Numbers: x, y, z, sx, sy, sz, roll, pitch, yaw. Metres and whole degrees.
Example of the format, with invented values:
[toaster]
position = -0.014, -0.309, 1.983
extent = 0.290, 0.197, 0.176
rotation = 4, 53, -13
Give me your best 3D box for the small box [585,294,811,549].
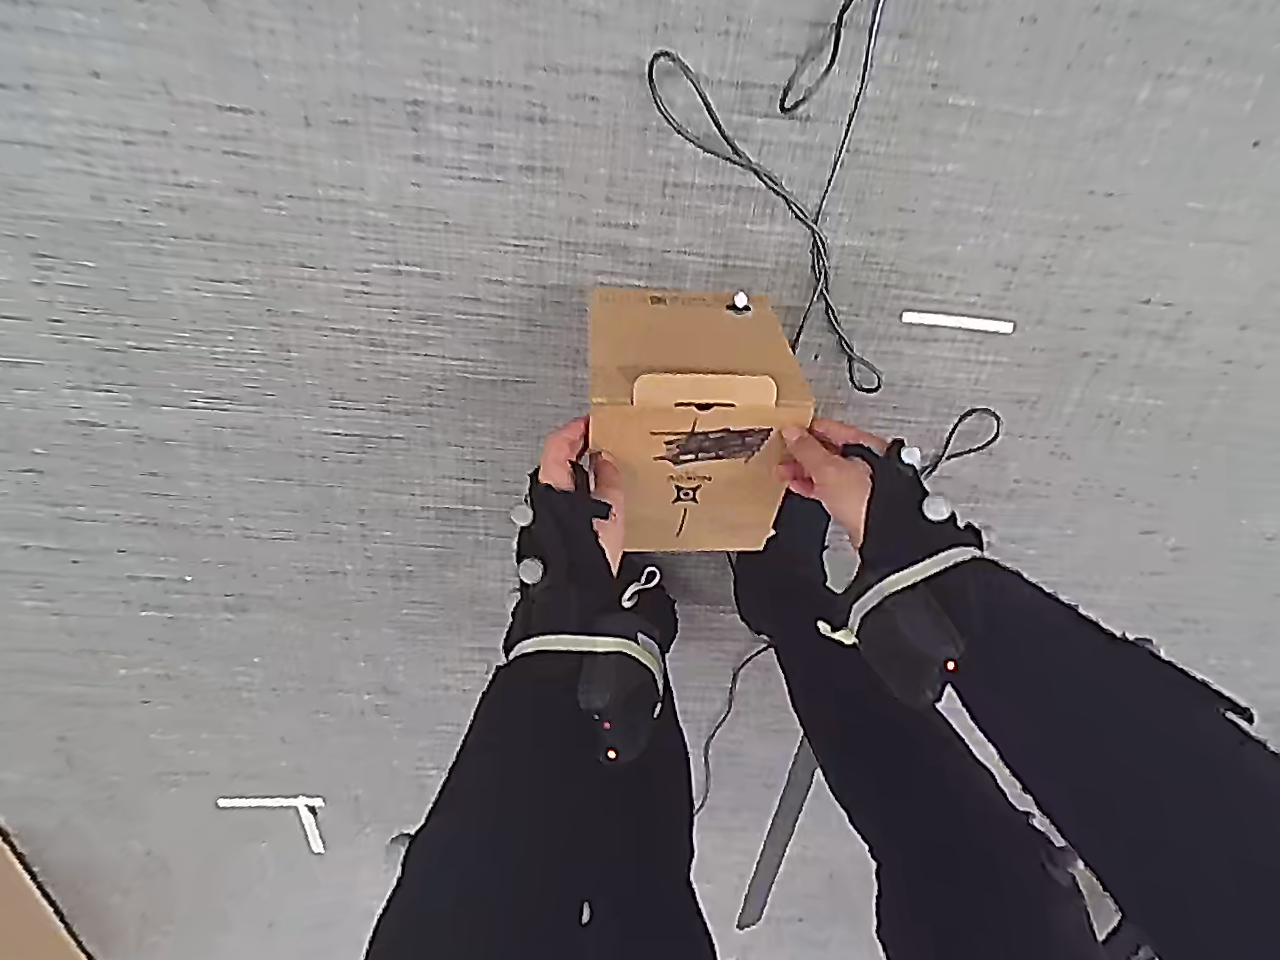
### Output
[small box]
position = 0.034, -0.055, 0.502
extent = 0.168, 0.176, 0.179
rotation = 1, 136, -5
